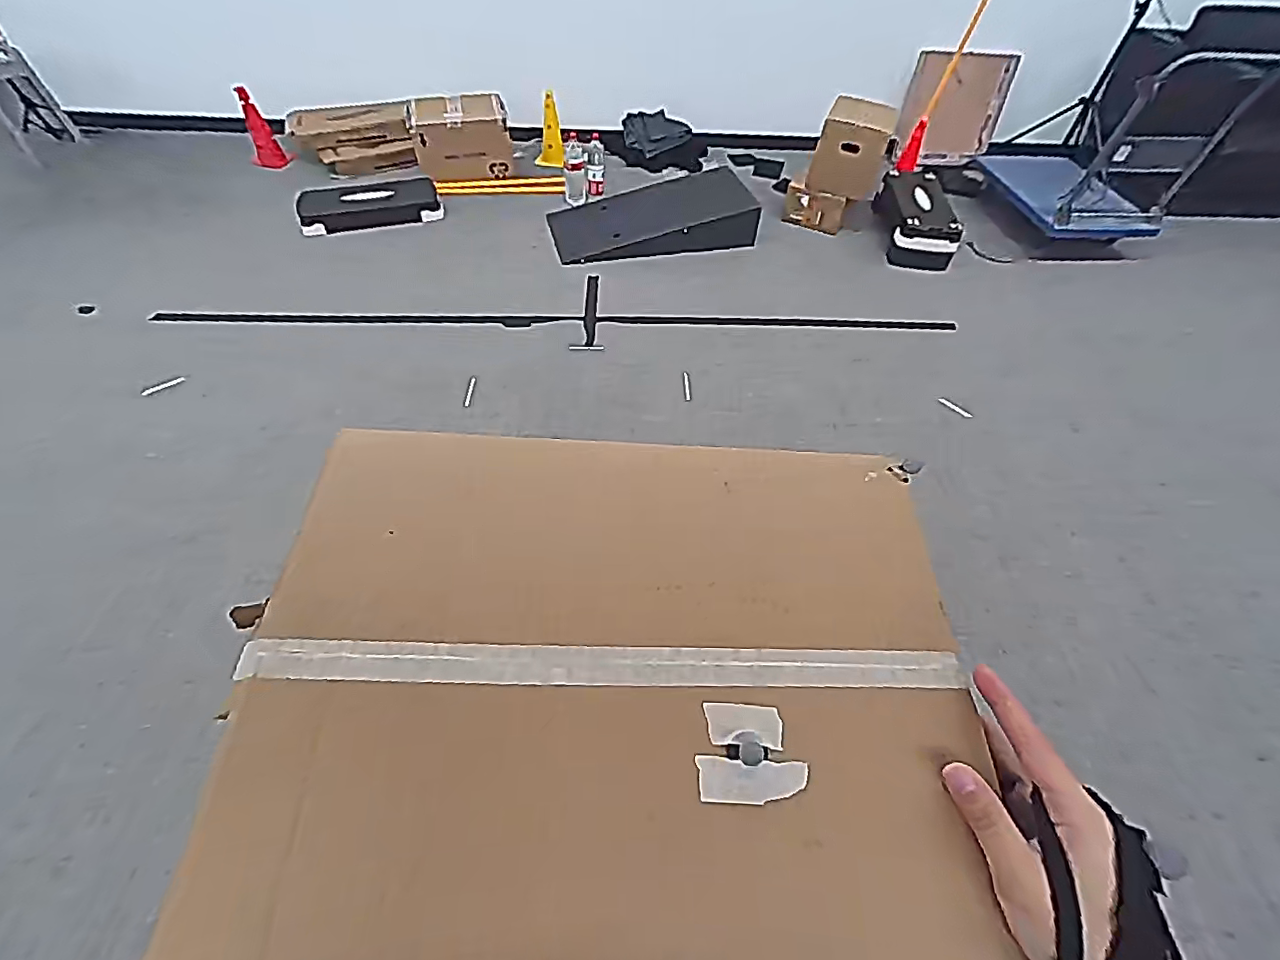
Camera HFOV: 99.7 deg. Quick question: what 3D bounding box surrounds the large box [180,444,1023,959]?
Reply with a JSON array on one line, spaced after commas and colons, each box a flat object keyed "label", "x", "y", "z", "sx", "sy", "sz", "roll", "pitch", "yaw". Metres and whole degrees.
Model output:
[{"label": "large box", "x": -0.024, "y": 0.189, "z": 0.449, "sx": 0.408, "sy": 0.320, "sz": 0.320, "roll": 3, "pitch": 59, "yaw": -5}]
